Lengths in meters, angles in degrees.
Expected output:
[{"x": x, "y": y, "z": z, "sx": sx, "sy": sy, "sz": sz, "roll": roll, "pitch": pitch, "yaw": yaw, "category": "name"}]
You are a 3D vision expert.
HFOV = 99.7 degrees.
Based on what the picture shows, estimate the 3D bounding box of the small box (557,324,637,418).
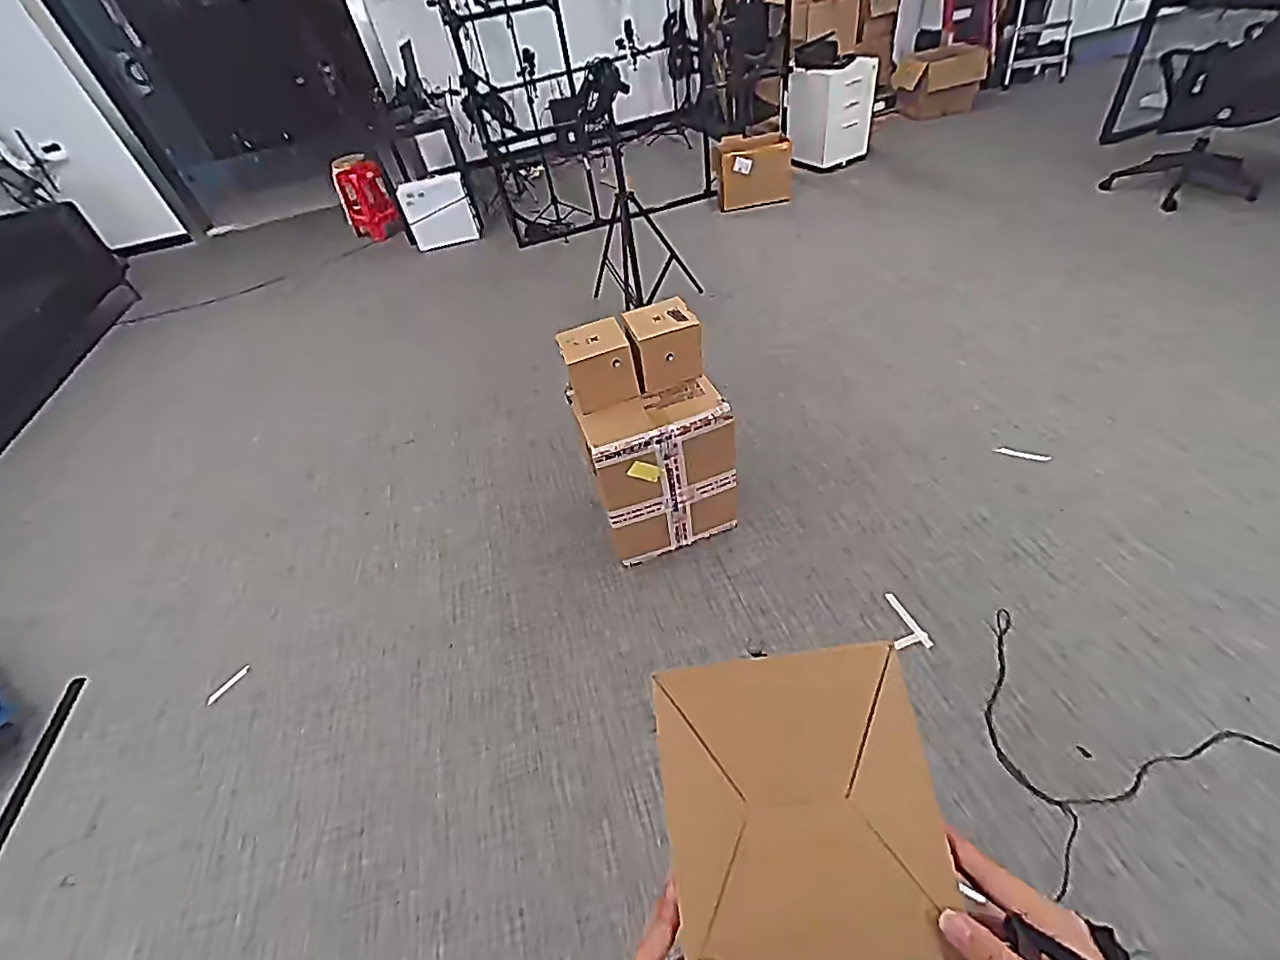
[{"x": -0.114, "y": -0.301, "z": 1.509, "sx": 0.179, "sy": 0.176, "sz": 0.168, "roll": -20, "pitch": 45, "yaw": -4, "category": "small box"}]

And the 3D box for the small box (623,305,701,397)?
[{"x": 0.064, "y": -0.364, "z": 1.534, "sx": 0.179, "sy": 0.176, "sz": 0.168, "roll": -18, "pitch": 46, "yaw": -7, "category": "small box"}]
